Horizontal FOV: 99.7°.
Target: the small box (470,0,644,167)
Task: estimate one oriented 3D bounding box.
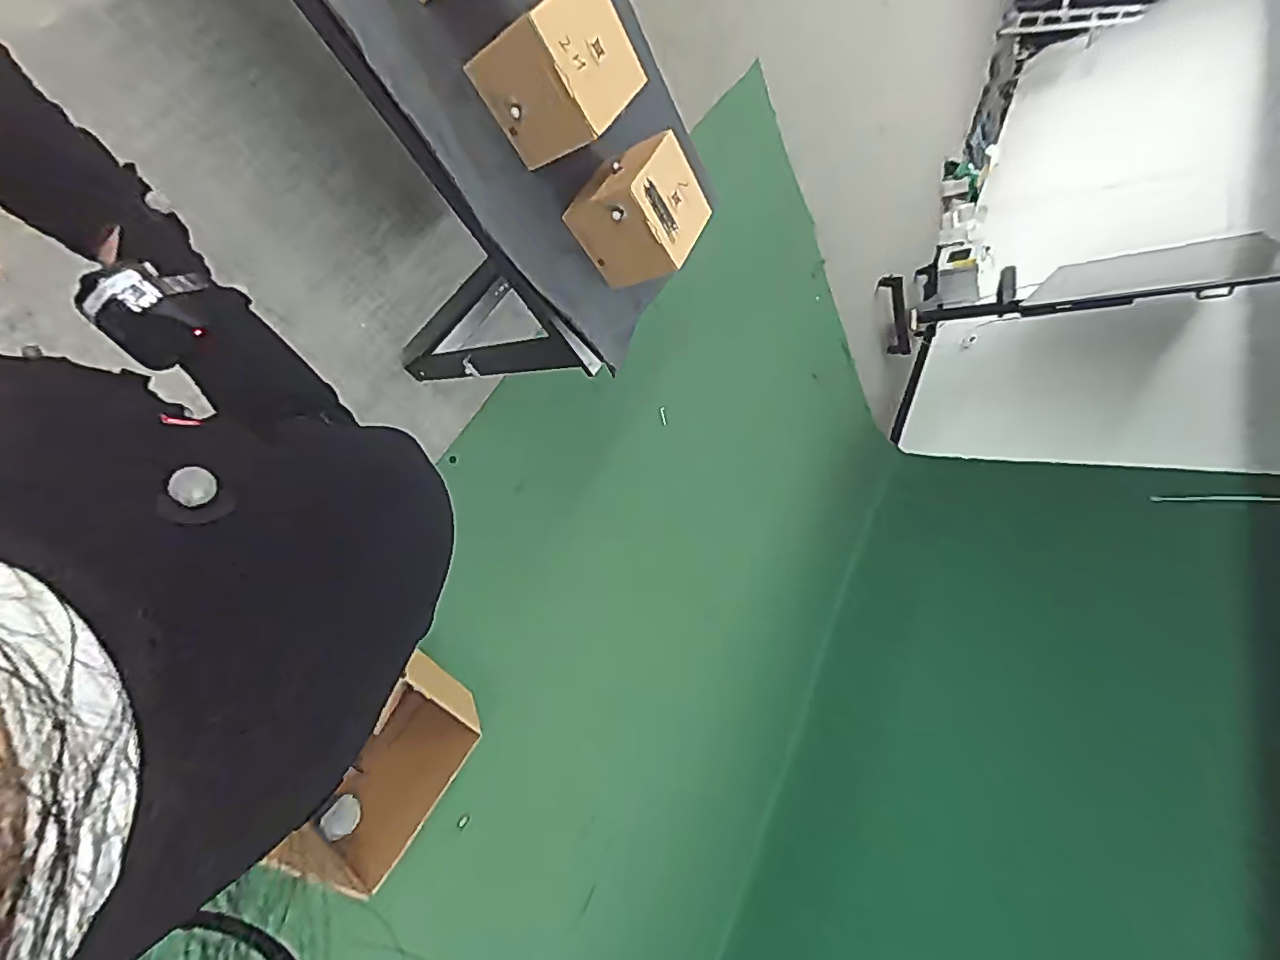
[{"bbox_3d":[-0.130,-0.633,0.844,0.168,0.176,0.179,50,59,-39],"label":"small box"}]
